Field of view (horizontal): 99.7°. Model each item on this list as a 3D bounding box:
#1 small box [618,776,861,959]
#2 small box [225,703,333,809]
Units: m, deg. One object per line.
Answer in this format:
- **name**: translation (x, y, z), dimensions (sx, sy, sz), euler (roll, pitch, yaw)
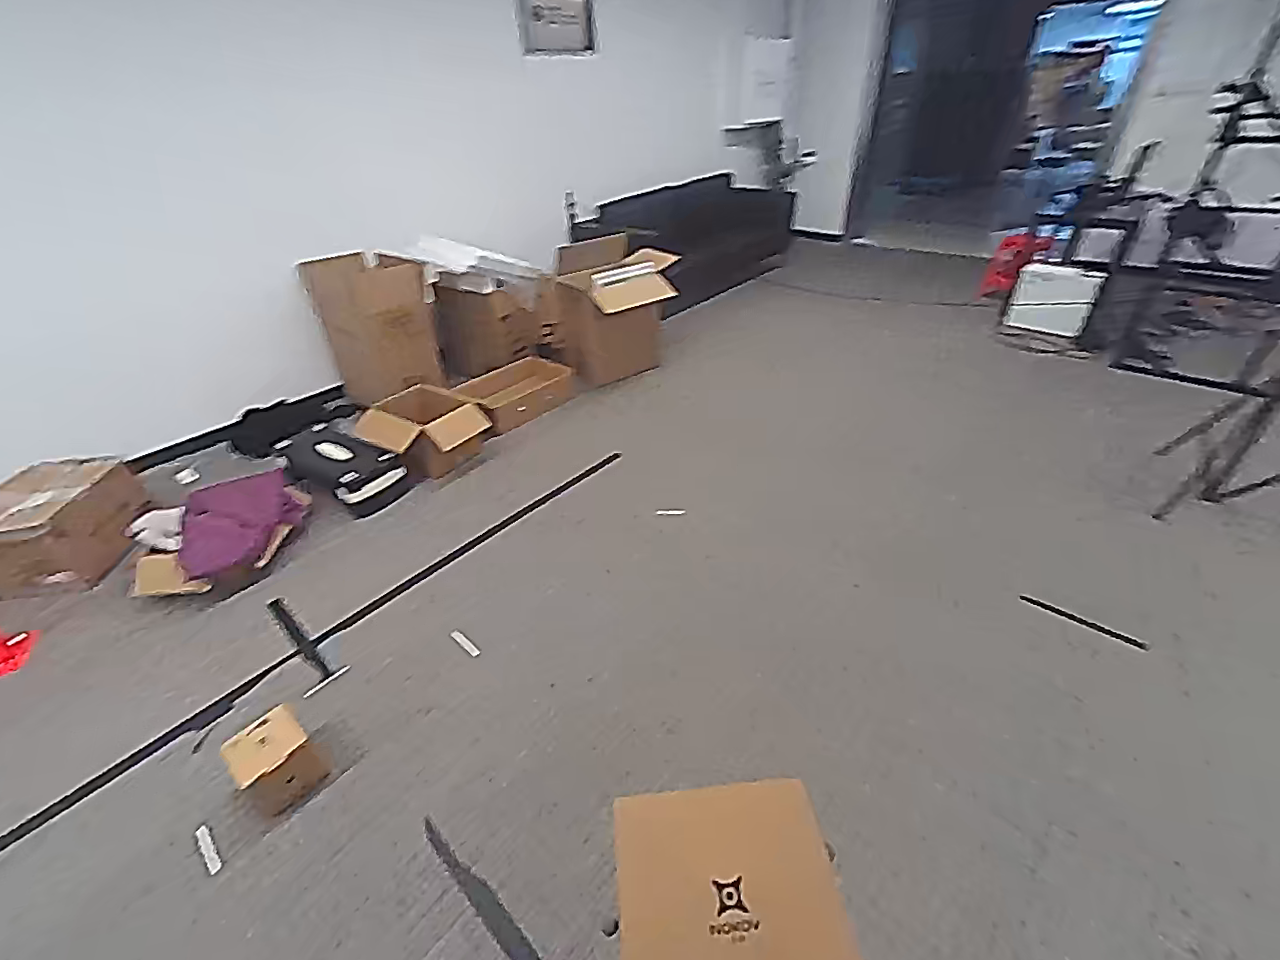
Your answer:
- **small box**: translation (0.070, 0.378, 0.443), dimensions (0.168, 0.176, 0.179), euler (-5, 36, -3)
- **small box**: translation (-0.990, 0.768, 1.494), dimensions (0.179, 0.176, 0.168), euler (26, 45, 33)
